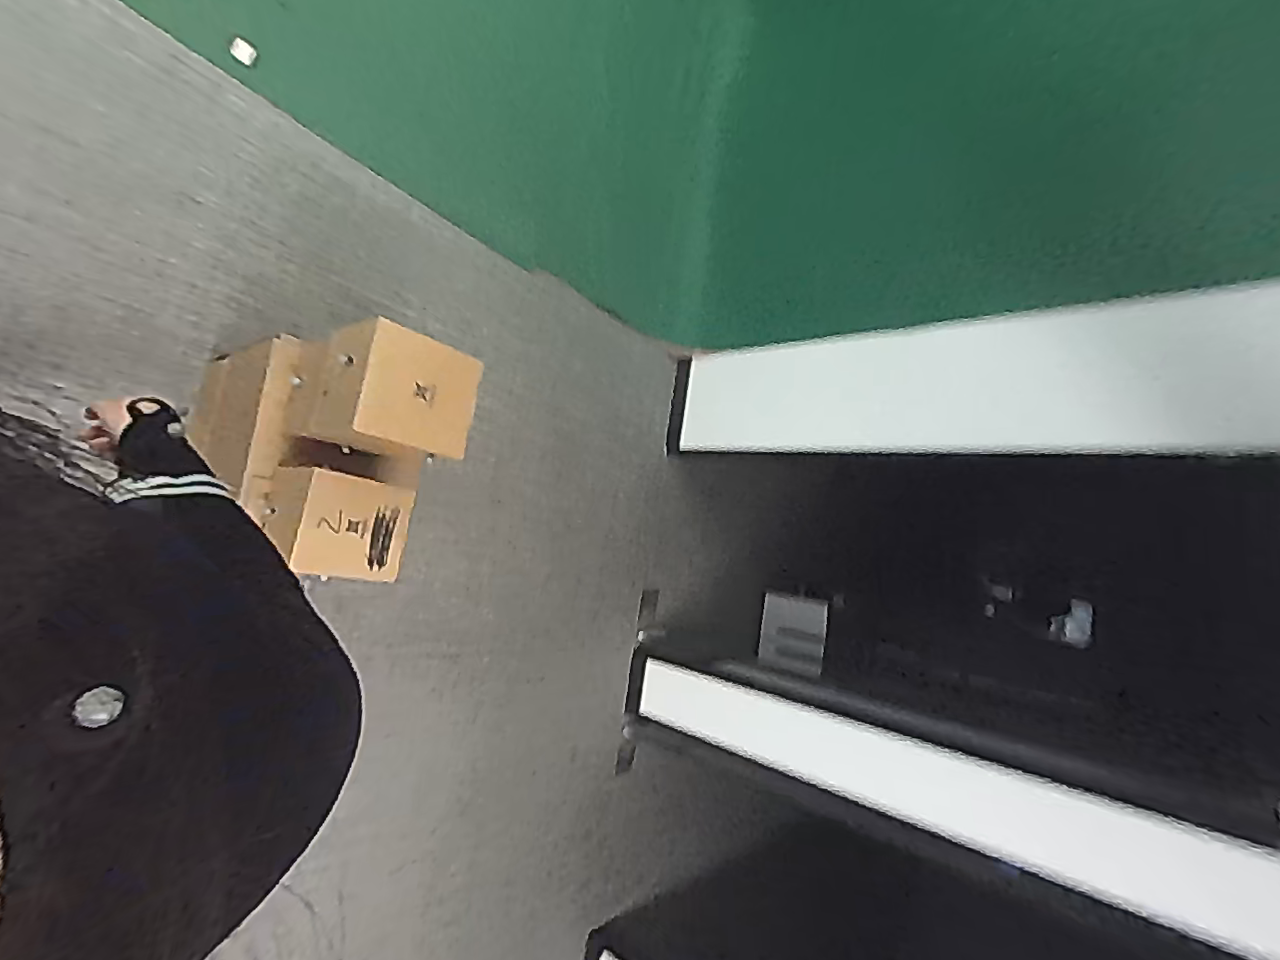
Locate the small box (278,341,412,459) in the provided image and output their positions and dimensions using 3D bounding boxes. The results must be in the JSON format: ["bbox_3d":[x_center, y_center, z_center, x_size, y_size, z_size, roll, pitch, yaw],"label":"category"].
[{"bbox_3d":[-0.513,-0.142,0.979,0.179,0.176,0.168,20,79,-48],"label":"small box"}]

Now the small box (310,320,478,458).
[{"bbox_3d":[-0.395,-0.135,0.867,0.179,0.176,0.168,19,79,-50],"label":"small box"}]
